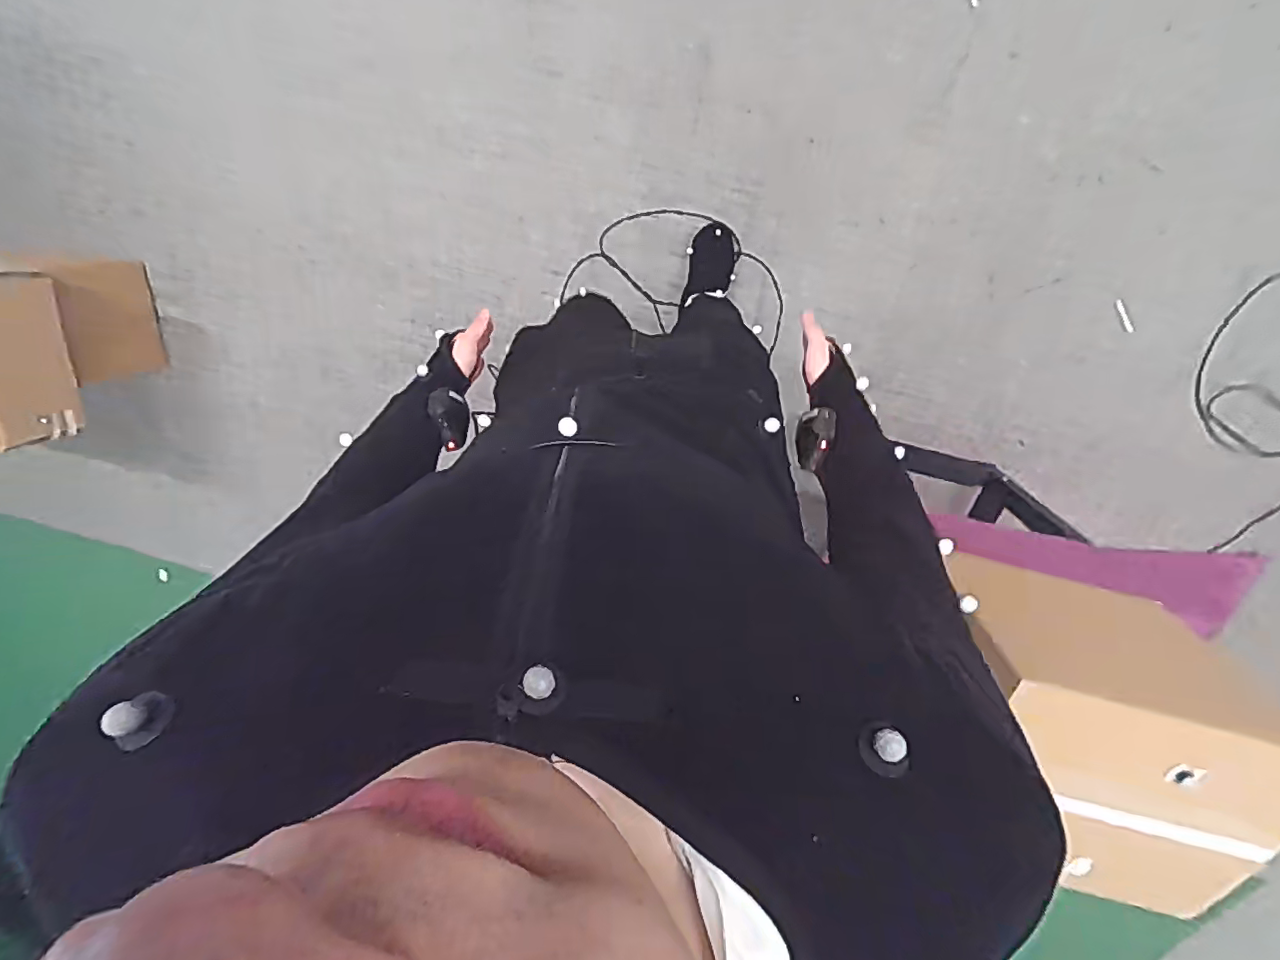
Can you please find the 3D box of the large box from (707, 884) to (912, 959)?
[{"bbox_3d":[0.387,1.200,1.216,0.408,0.320,0.320,16,113,-1],"label":"large box"}]
